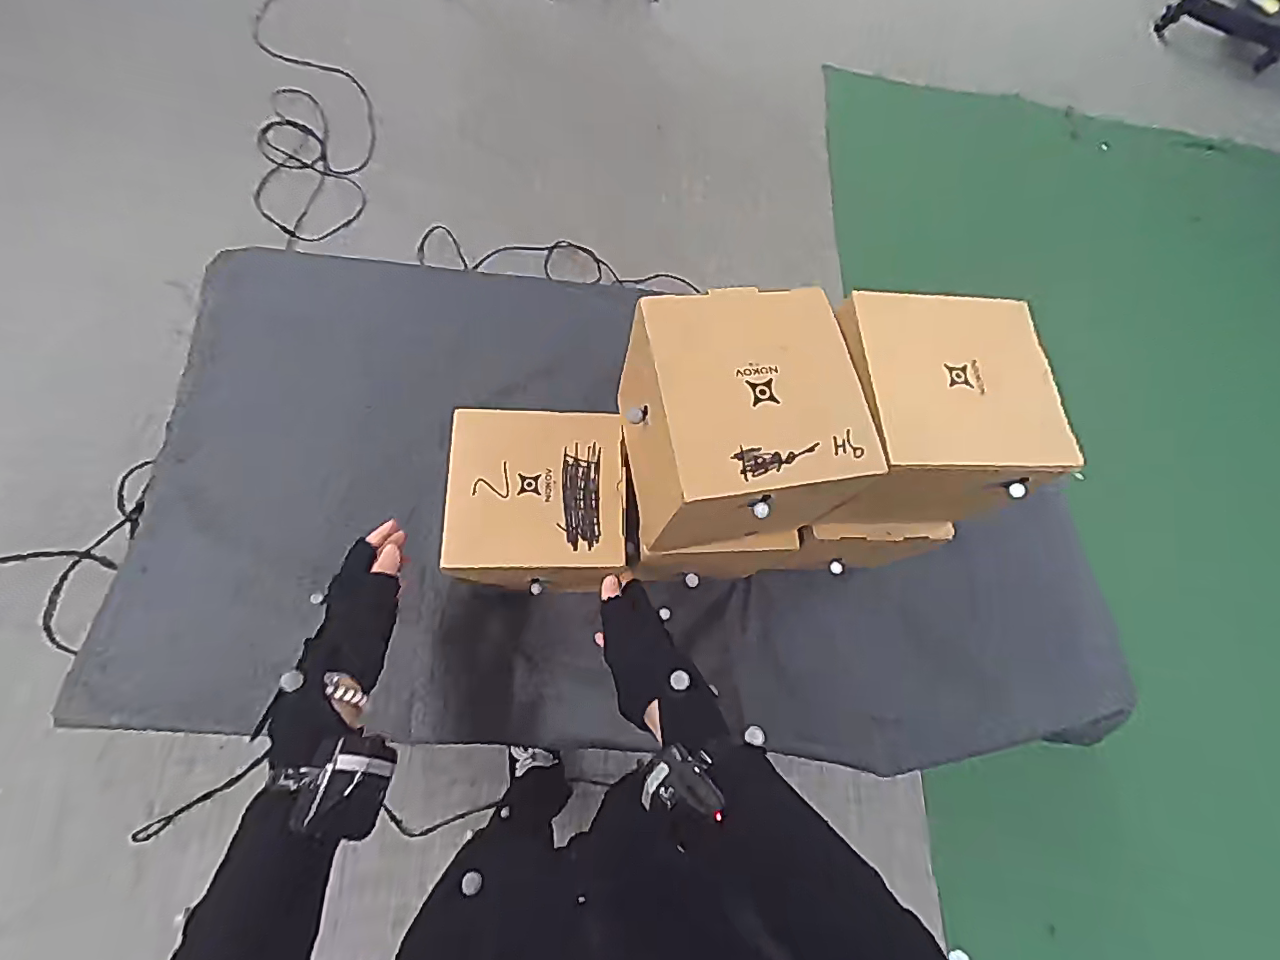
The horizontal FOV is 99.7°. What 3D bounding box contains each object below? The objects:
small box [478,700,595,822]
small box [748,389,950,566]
[{"bbox_3d":[-0.229,0.606,1.188,0.179,0.176,0.168,25,80,20],"label":"small box"},{"bbox_3d":[0.244,0.005,0.680,0.168,0.176,0.179,1,70,-8],"label":"small box"}]
